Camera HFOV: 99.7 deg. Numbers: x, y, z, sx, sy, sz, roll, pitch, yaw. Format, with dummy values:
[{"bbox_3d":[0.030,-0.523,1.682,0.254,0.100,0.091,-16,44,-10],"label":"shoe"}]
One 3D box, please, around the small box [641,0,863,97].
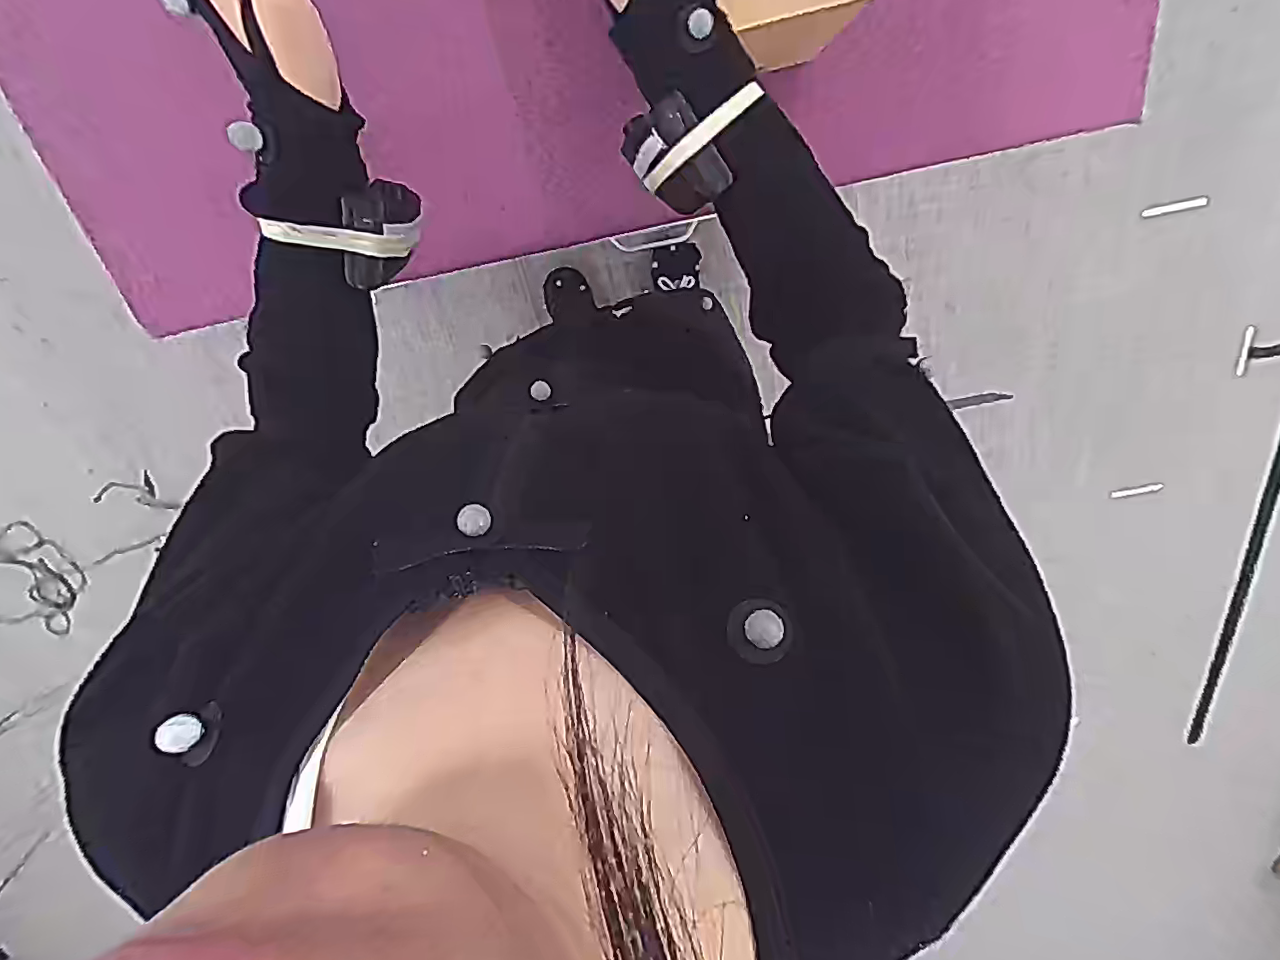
[{"bbox_3d":[0.083,-0.480,0.482,0.168,0.176,0.179,-12,114,3],"label":"small box"}]
